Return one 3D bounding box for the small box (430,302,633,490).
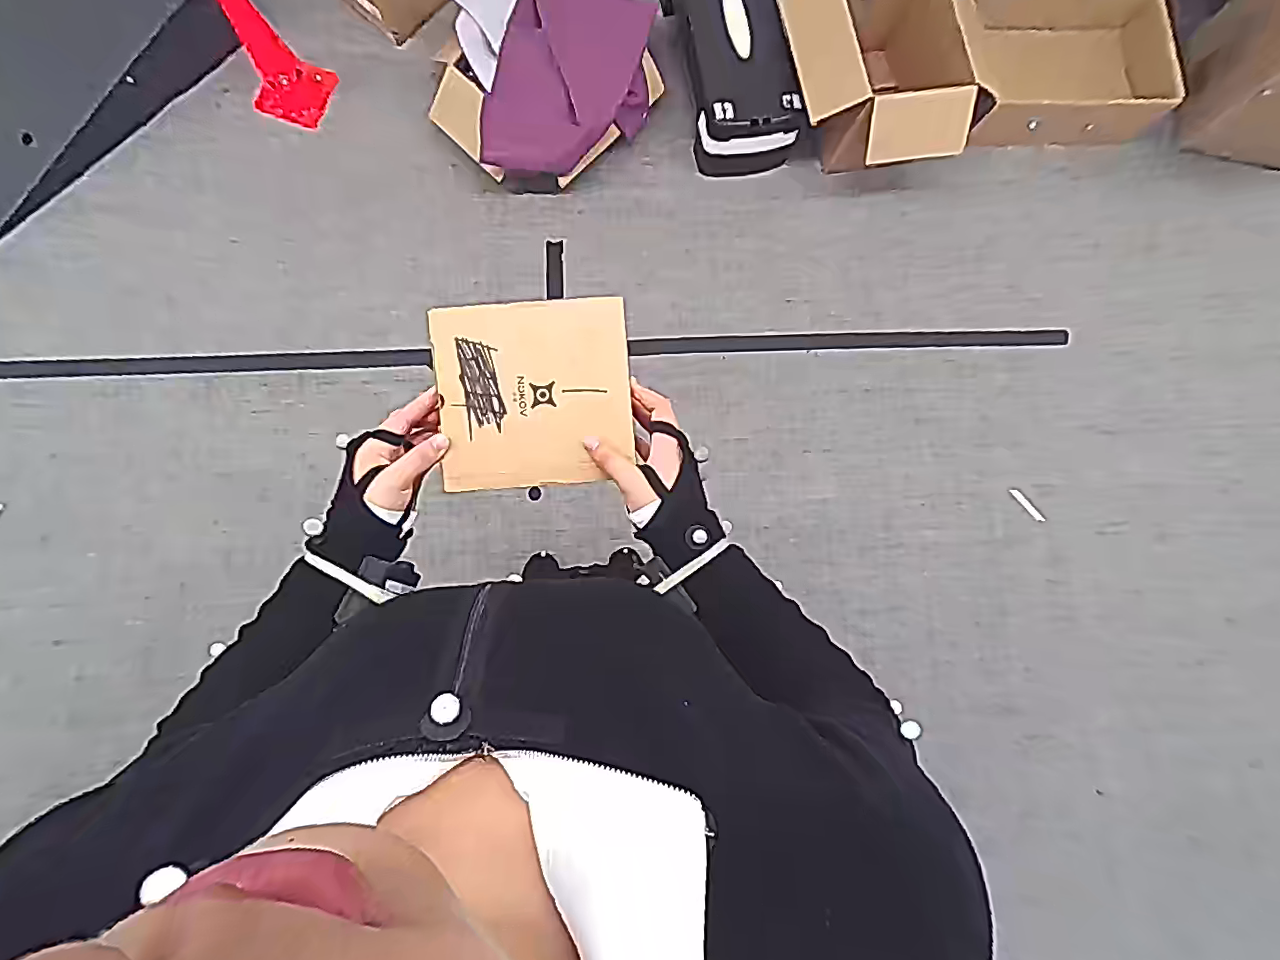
[{"bbox_3d":[-0.098,-0.075,0.561,0.179,0.176,0.168,-4,91,-2],"label":"small box"}]
